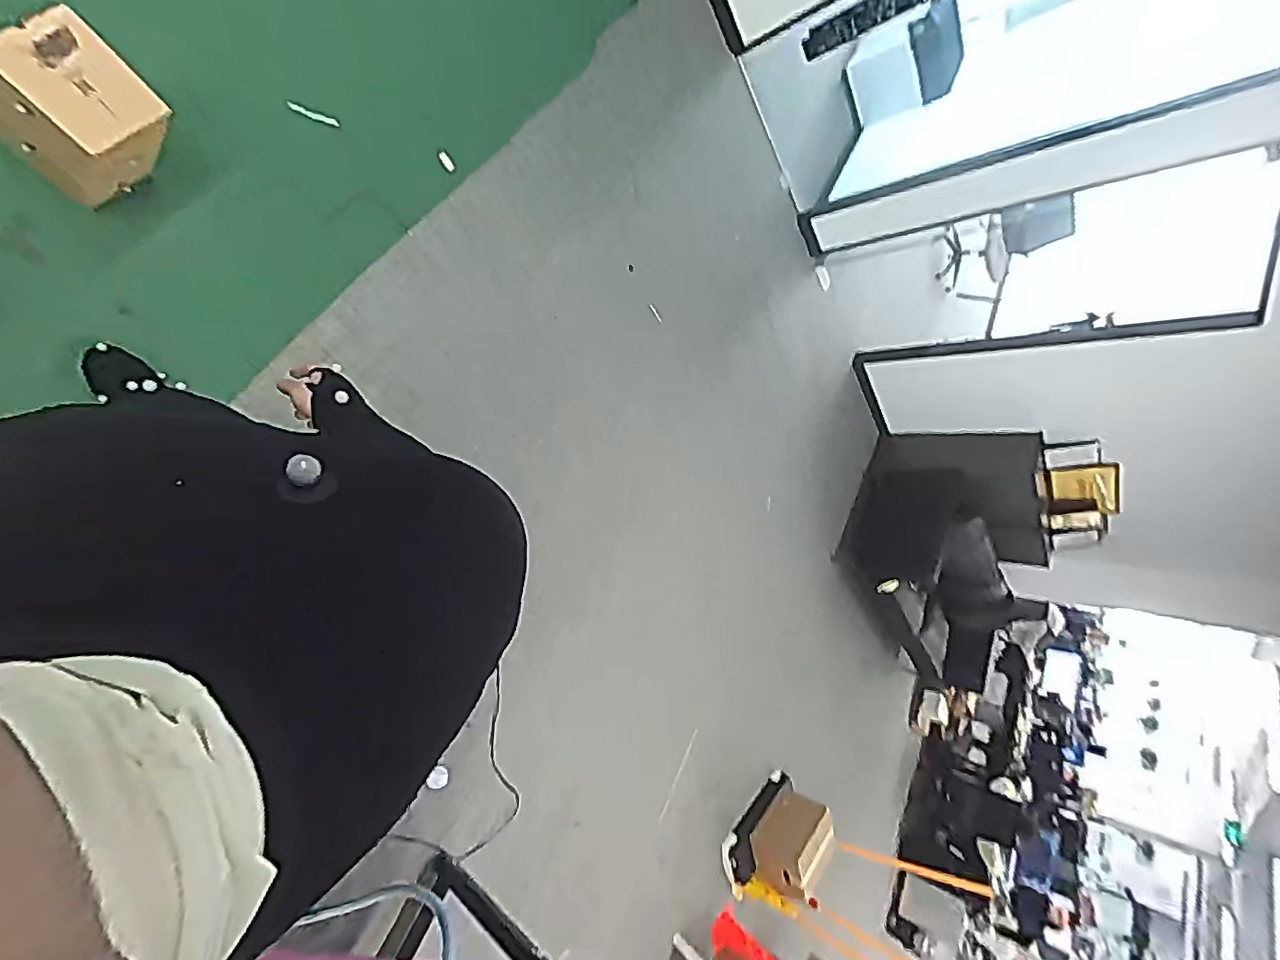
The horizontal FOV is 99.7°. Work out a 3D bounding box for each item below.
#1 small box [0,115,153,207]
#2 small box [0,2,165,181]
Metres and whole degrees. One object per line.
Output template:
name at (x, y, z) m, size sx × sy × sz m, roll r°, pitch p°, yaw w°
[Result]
small box at (-1.126, -0.678, 1.064) m, size 0.179 × 0.176 × 0.168 m, roll 51°, pitch 57°, yaw -37°
small box at (-1.005, -0.672, 0.954) m, size 0.179 × 0.176 × 0.168 m, roll 51°, pitch 57°, yaw -37°
